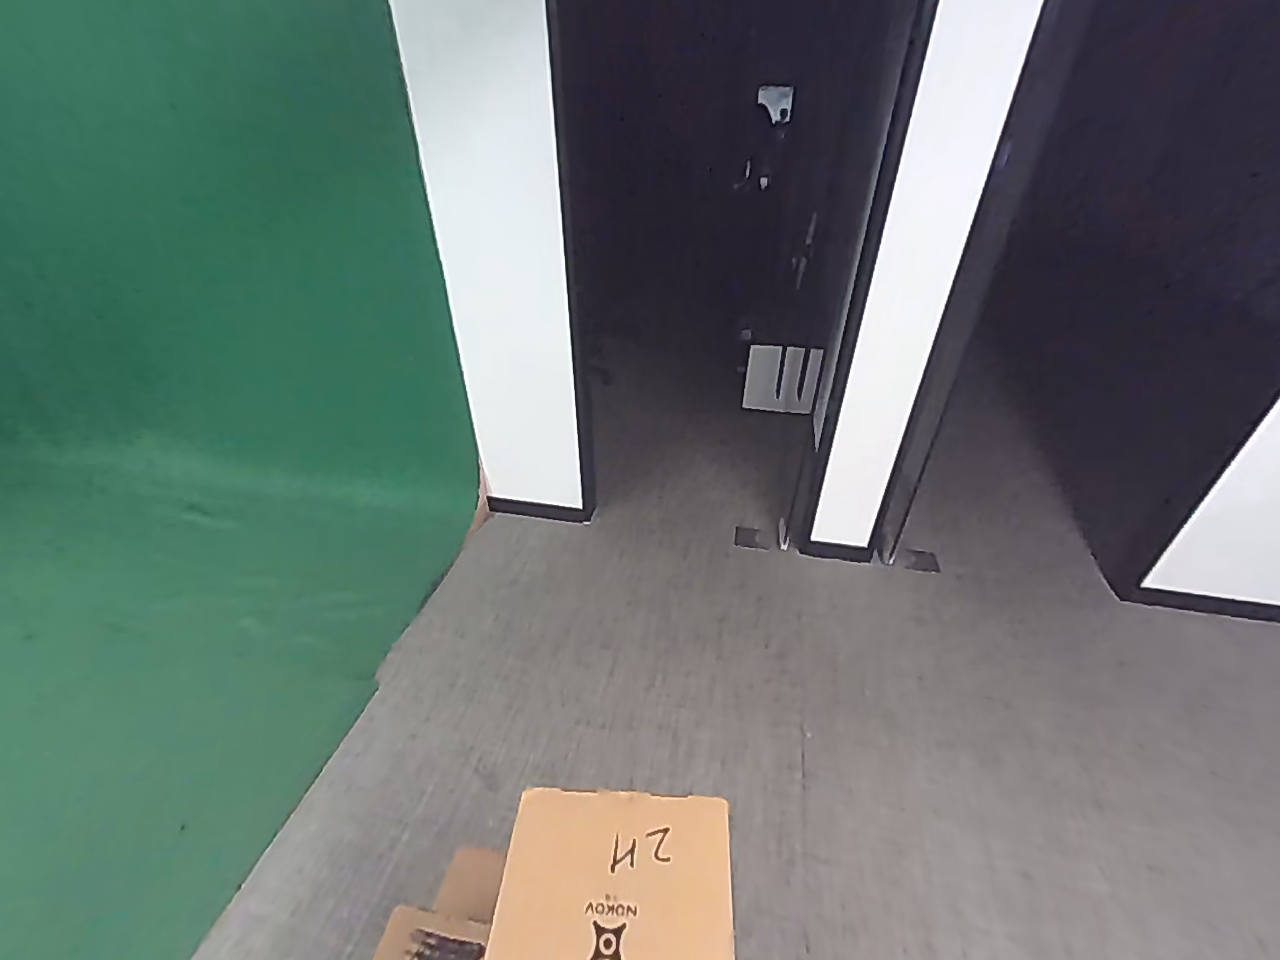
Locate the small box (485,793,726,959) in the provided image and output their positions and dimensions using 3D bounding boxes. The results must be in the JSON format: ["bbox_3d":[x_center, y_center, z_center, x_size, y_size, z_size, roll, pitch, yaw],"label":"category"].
[{"bbox_3d":[-0.018,0.376,0.422,0.168,0.176,0.179,1,39,6],"label":"small box"}]
